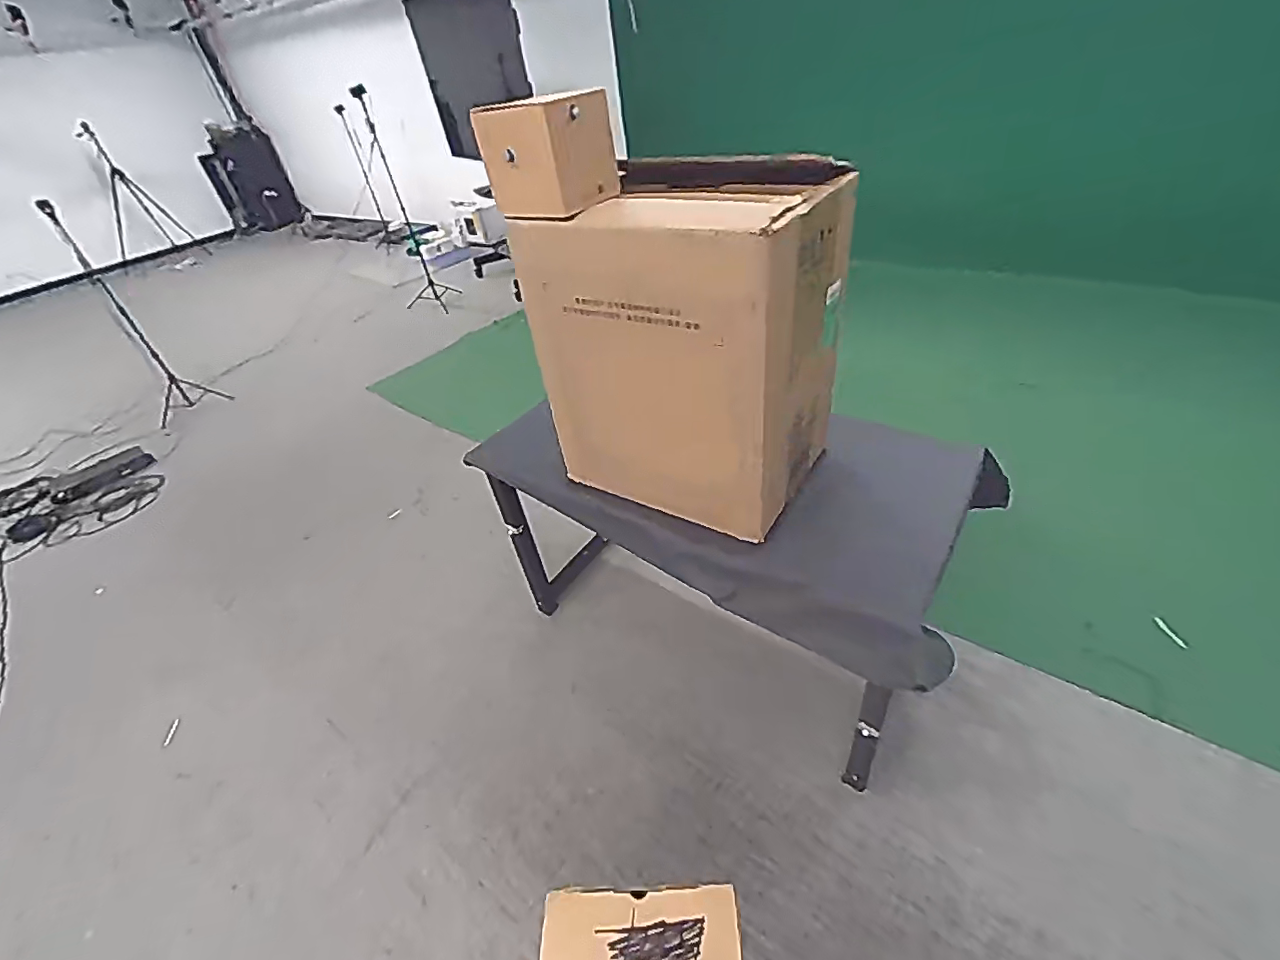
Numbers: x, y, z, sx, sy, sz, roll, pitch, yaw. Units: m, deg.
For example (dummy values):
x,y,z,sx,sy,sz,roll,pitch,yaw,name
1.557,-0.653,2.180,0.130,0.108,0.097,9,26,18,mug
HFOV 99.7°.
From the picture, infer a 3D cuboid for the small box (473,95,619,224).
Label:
x,y,z,sx,sy,sz,roll,pitch,yaw,name
-0.160,-0.568,0.968,0.179,0.176,0.168,18,46,31,small box
